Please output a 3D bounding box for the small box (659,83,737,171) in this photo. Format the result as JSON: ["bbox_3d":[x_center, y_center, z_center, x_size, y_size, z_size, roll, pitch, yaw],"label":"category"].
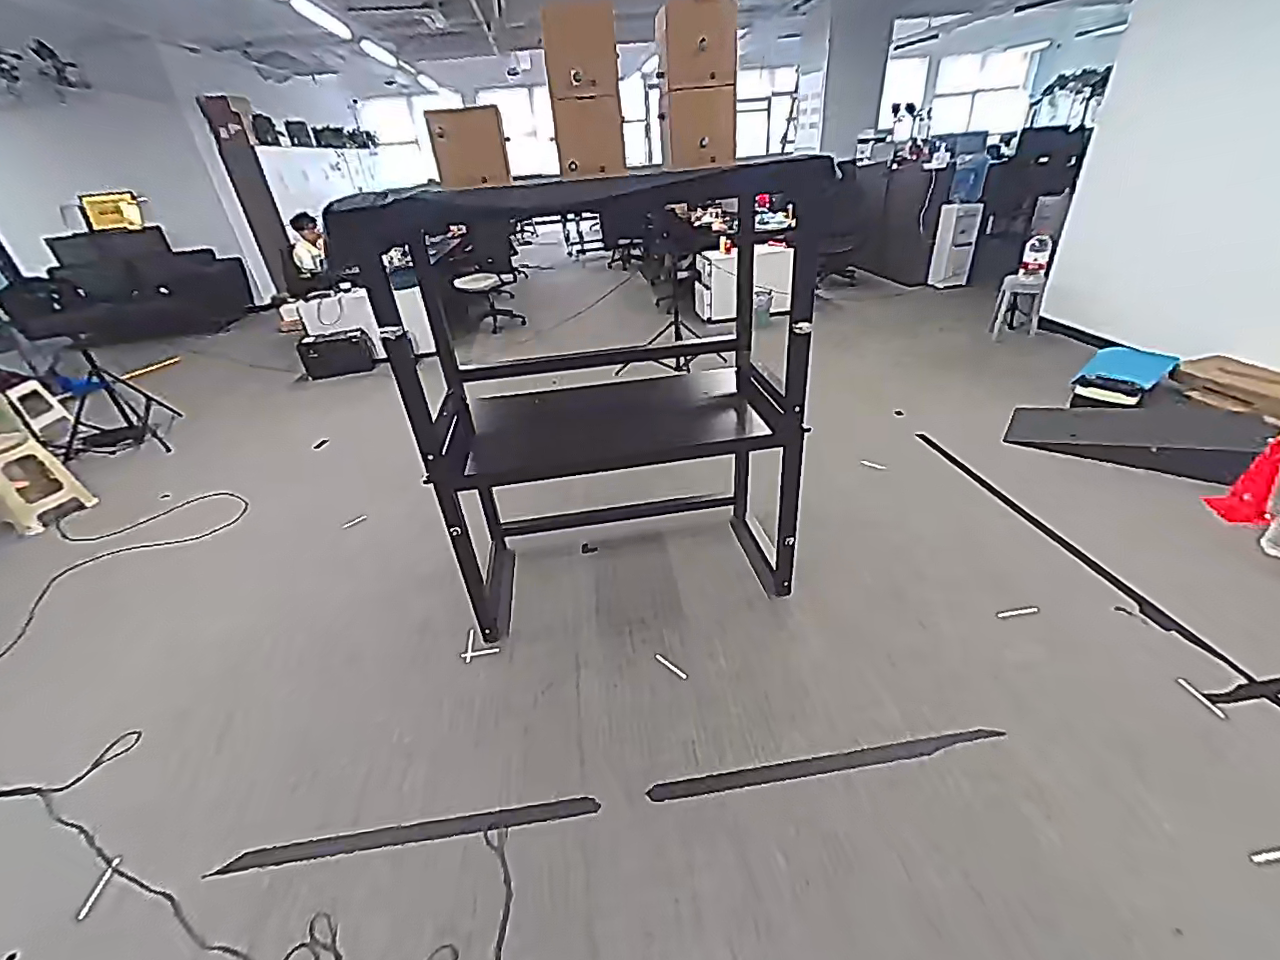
[{"bbox_3d":[0.144,-0.886,1.371,0.168,0.176,0.179,-8,31,-3],"label":"small box"}]

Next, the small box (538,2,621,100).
[{"bbox_3d":[-0.140,-0.989,1.270,0.168,0.176,0.179,-8,31,-3],"label":"small box"}]

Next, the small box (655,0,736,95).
[{"bbox_3d":[0.131,-1.027,1.288,0.168,0.176,0.179,-7,31,-3],"label":"small box"}]

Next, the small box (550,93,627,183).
[{"bbox_3d":[-0.128,-0.847,1.350,0.168,0.176,0.179,-8,29,-4],"label":"small box"}]
